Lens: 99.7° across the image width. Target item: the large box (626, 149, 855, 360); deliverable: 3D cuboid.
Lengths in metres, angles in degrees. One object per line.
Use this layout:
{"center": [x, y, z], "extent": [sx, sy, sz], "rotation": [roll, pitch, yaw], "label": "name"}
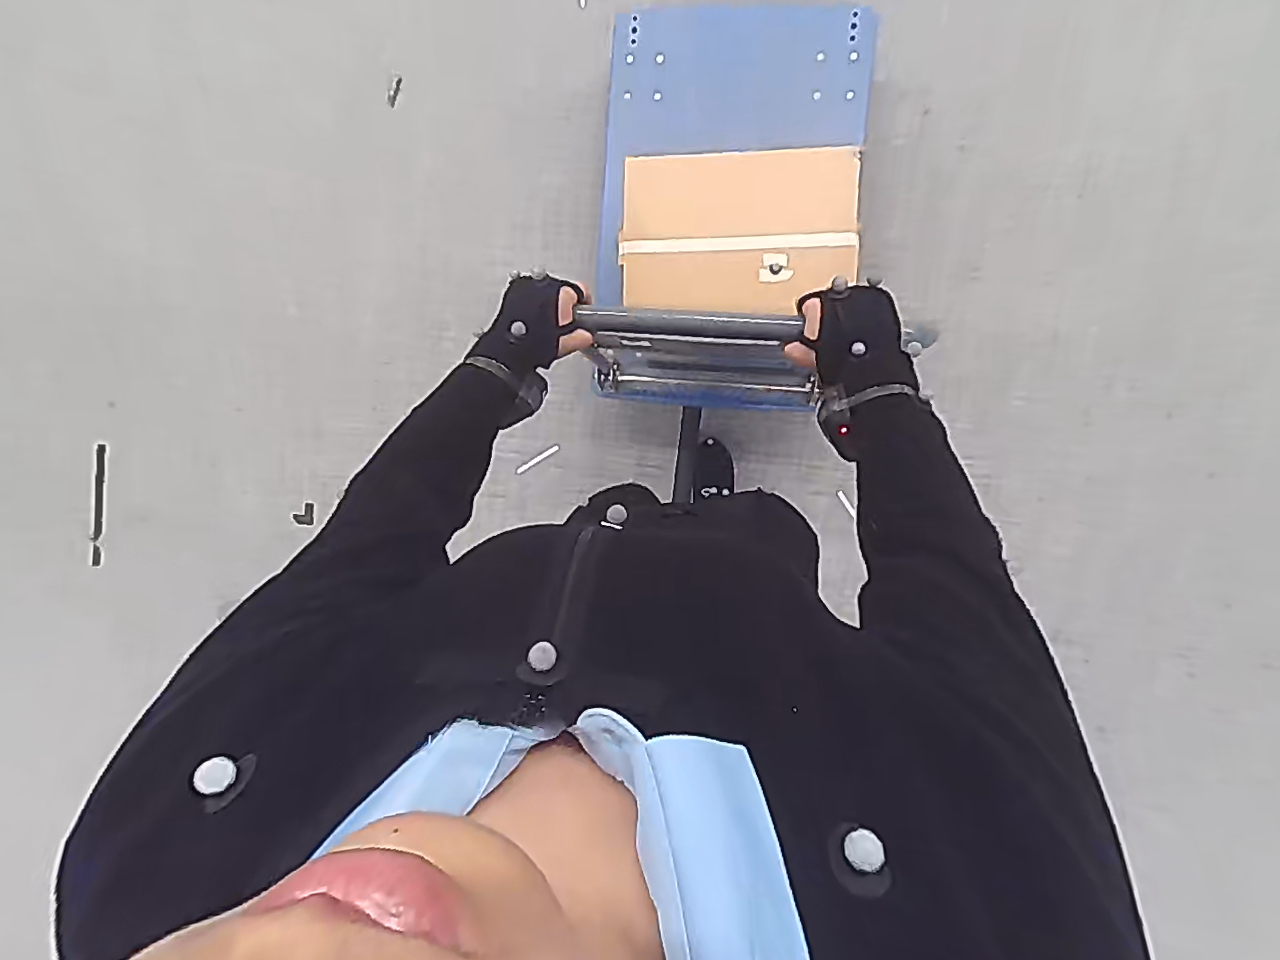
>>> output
{"center": [0.189, -0.428, 1.109], "extent": [0.408, 0.320, 0.320], "rotation": [1, 95, 6], "label": "large box"}
